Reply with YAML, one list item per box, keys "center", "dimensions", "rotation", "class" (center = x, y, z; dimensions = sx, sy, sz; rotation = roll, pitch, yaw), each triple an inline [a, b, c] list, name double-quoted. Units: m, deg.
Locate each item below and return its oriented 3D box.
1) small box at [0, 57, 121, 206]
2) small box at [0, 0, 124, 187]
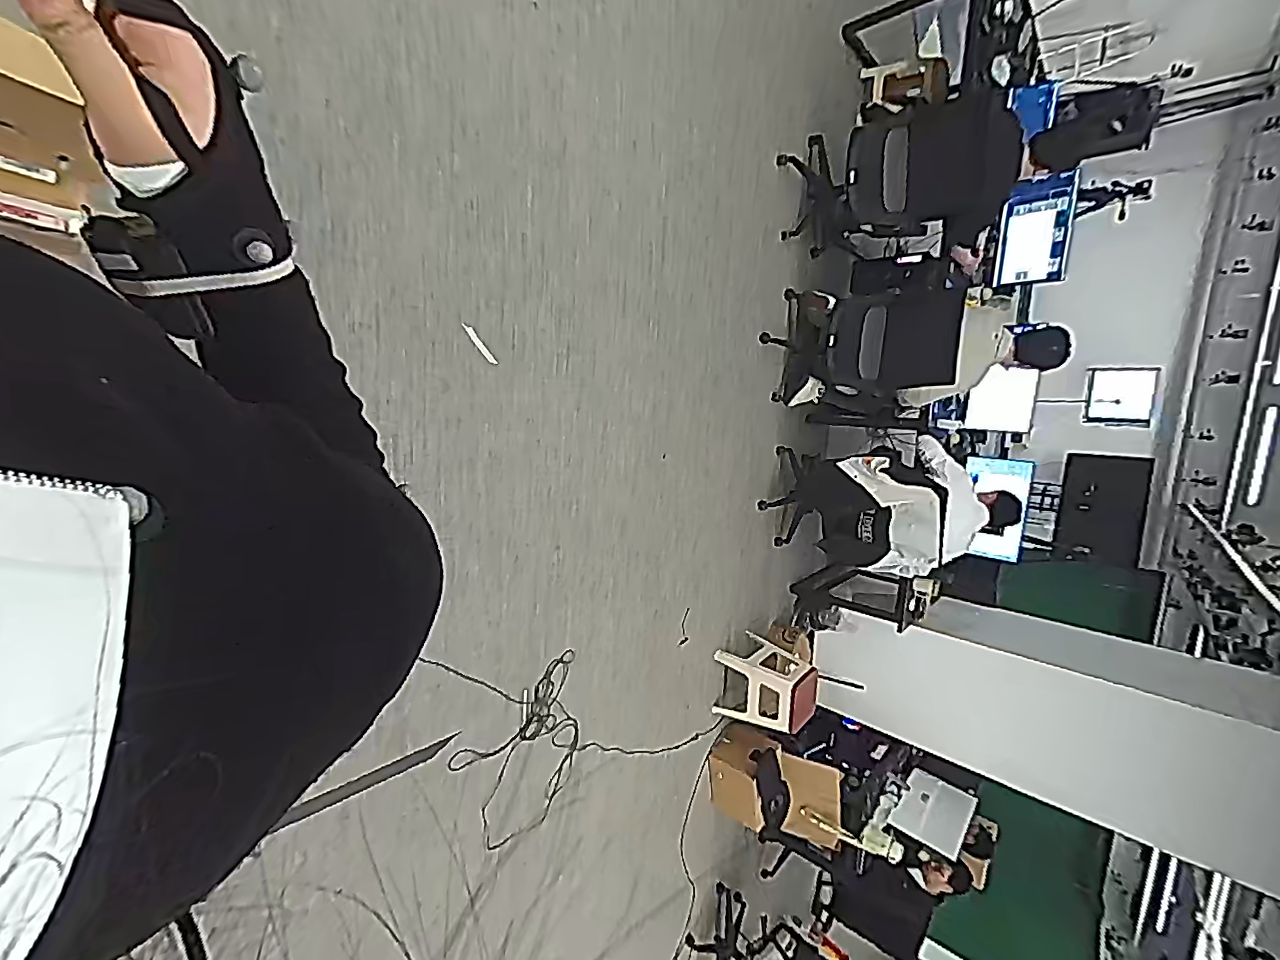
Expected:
- center: [-0.716, -0.425, 0.603]
  dimensions: [0.179, 0.176, 0.168]
  rotation: [-3, 101, -51]
  class: "small box"
- center: [-0.600, -0.398, 0.488]
  dimensions: [0.168, 0.176, 0.179]
  rotation: [3, 97, -53]
  class: "small box"
